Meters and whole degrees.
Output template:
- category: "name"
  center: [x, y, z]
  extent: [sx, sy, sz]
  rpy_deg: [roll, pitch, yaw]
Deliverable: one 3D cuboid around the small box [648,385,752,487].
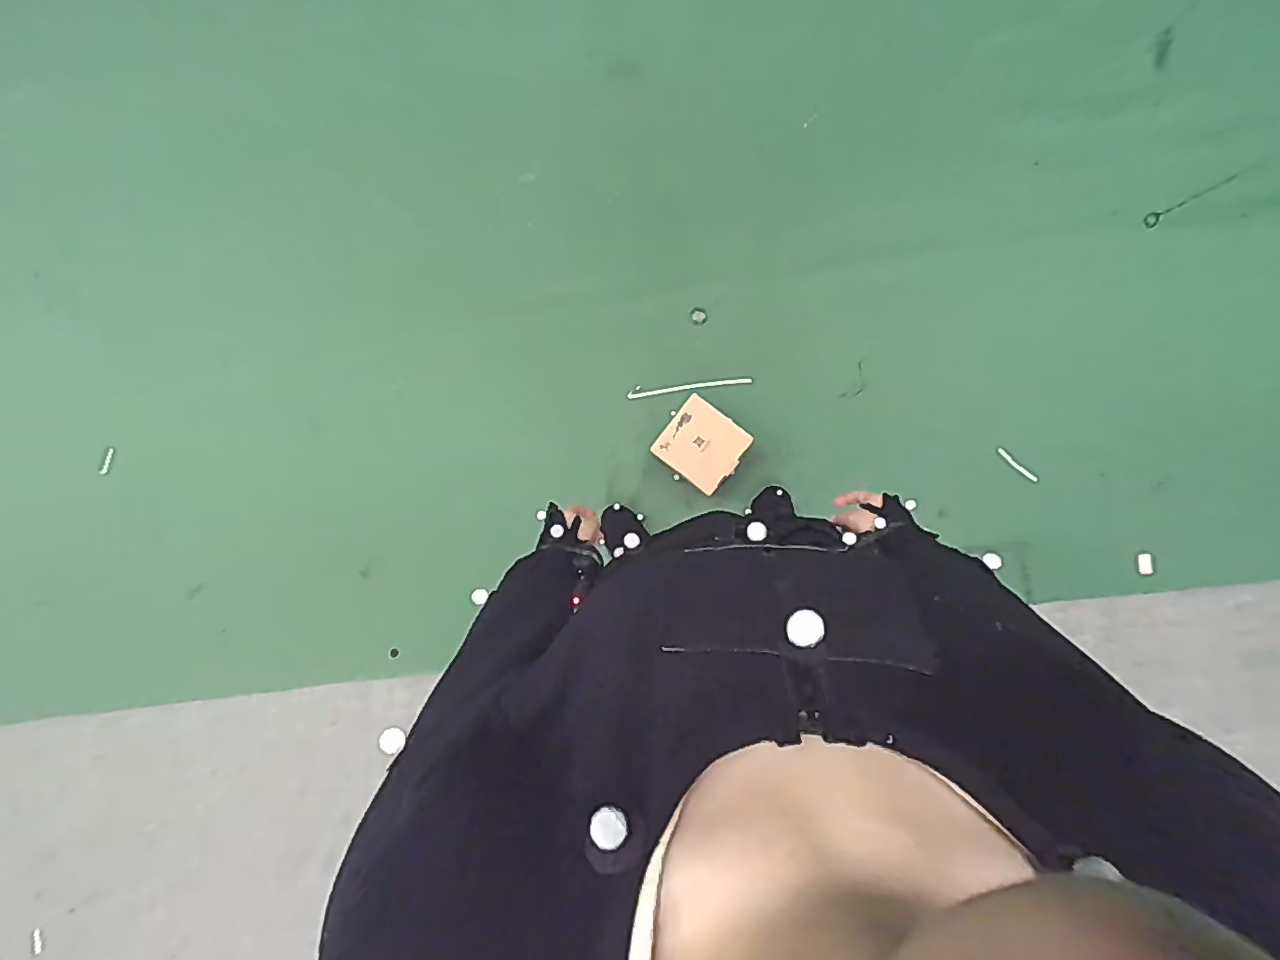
- category: "small box"
  center: [0.138, -0.101, 1.282]
  extent: [0.179, 0.176, 0.168]
  rpy_deg: [39, 92, 2]
